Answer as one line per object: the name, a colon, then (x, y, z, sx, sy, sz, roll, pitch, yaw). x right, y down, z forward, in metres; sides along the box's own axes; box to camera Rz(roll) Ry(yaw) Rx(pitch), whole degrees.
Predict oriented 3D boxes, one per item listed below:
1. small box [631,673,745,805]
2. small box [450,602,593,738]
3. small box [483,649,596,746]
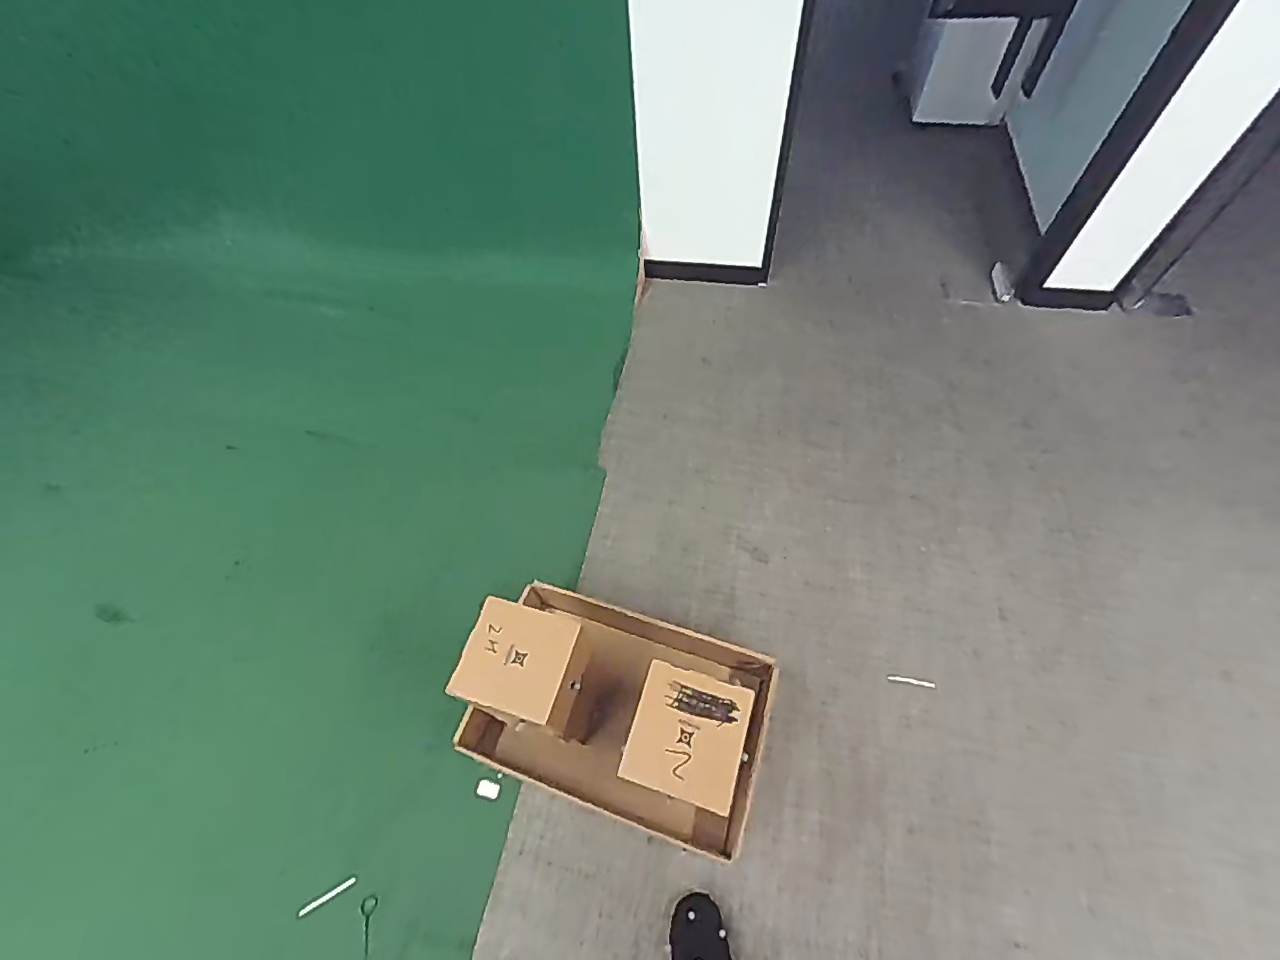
small box: (0.094, 0.490, 1.017, 0.168, 0.176, 0.179, 13, 60, 12)
small box: (-0.191, 0.336, 0.942, 0.179, 0.176, 0.168, 14, 61, 11)
small box: (-0.195, 0.414, 1.087, 0.168, 0.176, 0.179, 15, 62, 12)
